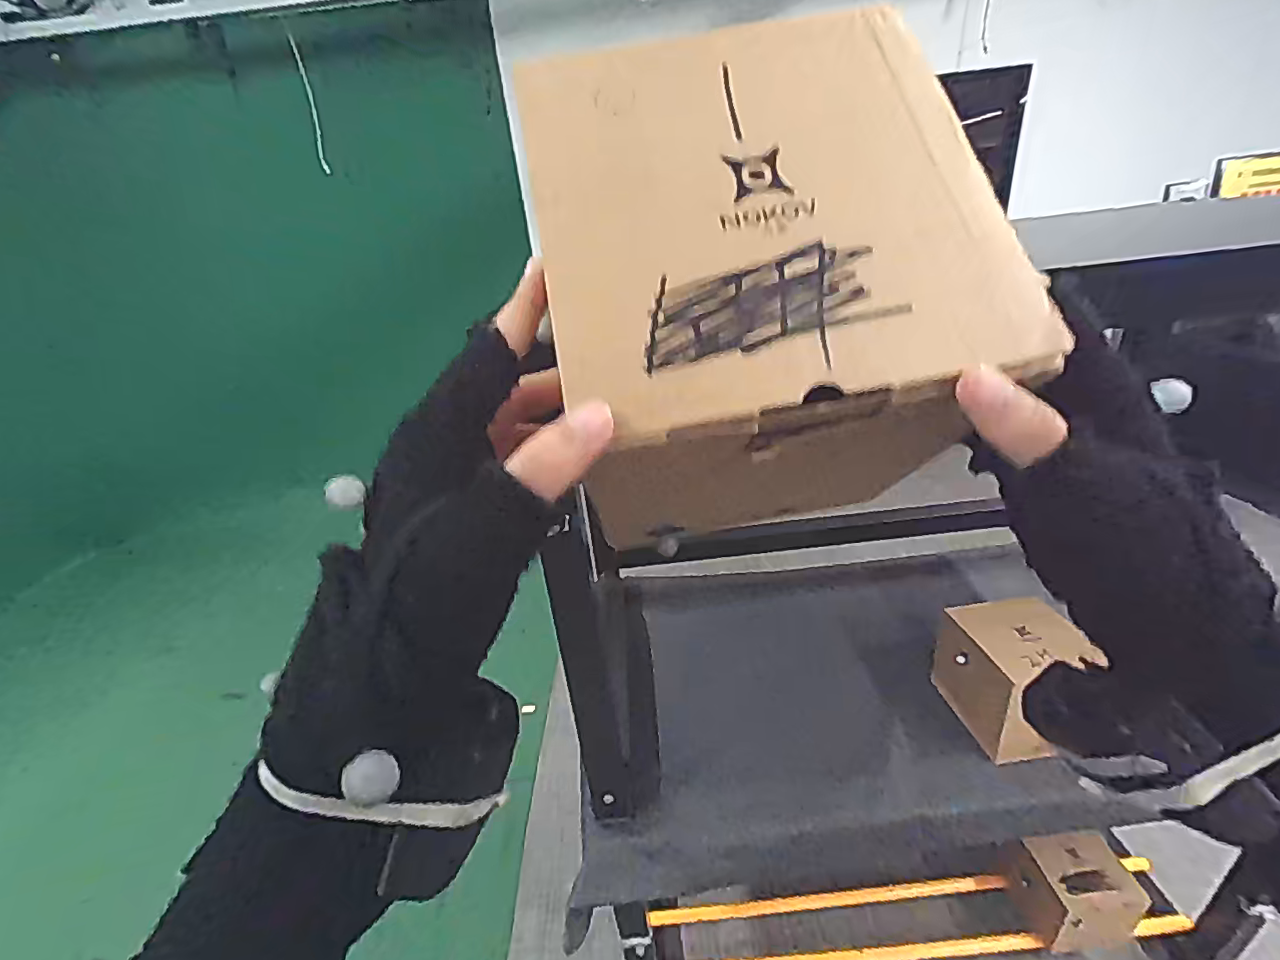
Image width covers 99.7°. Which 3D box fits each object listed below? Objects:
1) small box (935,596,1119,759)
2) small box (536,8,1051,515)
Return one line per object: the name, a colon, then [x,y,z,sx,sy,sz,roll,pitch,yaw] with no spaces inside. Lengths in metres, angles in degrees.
small box: [0.611,0.317,0.883,0.168,0.176,0.179,-8,24,-2]
small box: [0.051,-0.088,0.286,0.168,0.179,0.176,-10,-19,-2]
